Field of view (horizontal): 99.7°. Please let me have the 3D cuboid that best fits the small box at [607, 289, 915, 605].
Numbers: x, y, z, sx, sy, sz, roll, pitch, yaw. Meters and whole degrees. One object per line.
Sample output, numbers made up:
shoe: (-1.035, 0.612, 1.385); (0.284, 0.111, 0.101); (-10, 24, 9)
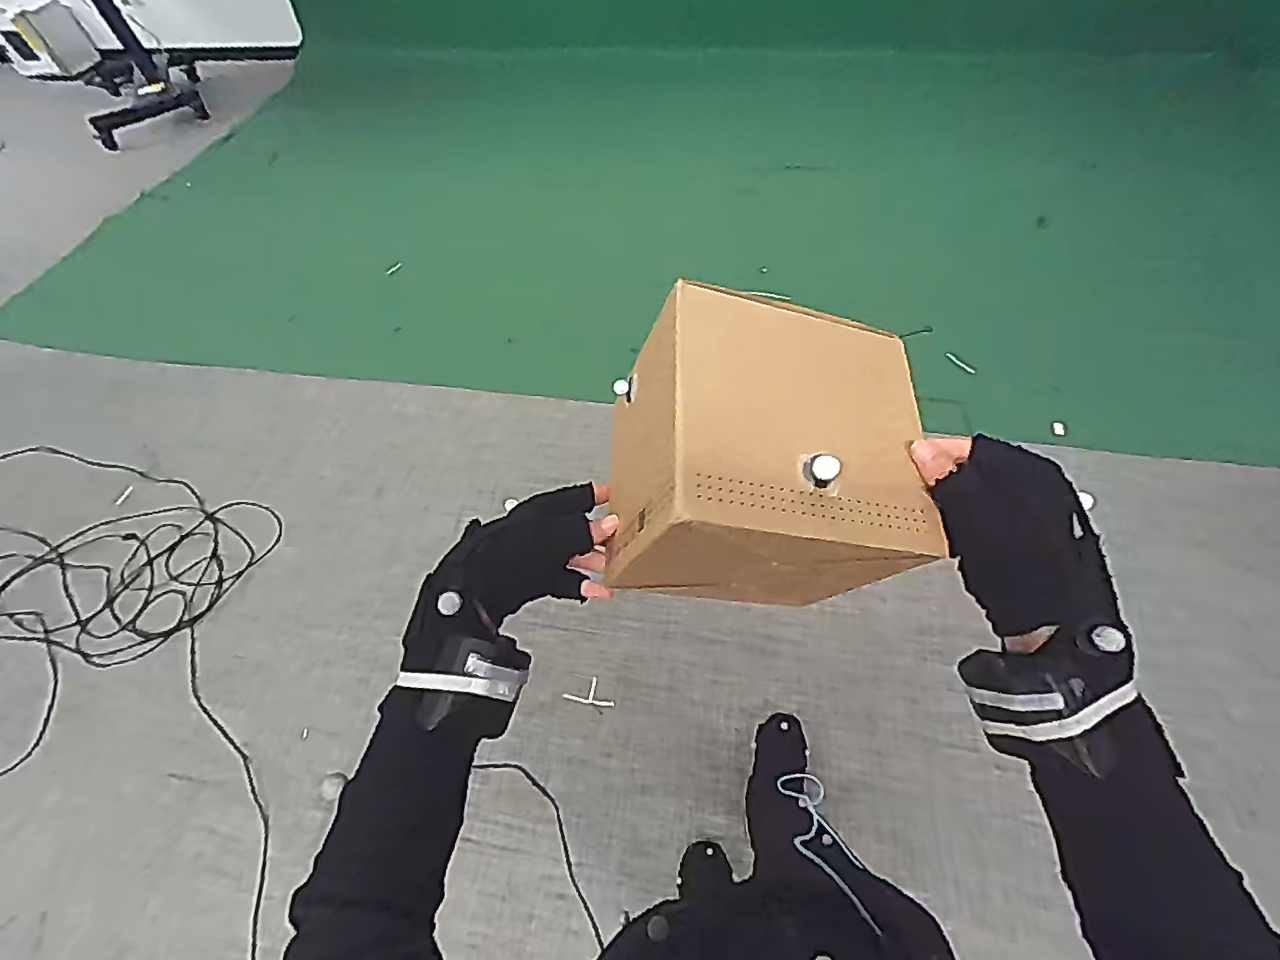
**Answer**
small box: (0.081, -0.007, 0.413); (0.179, 0.168, 0.176); (10, 62, -15)
